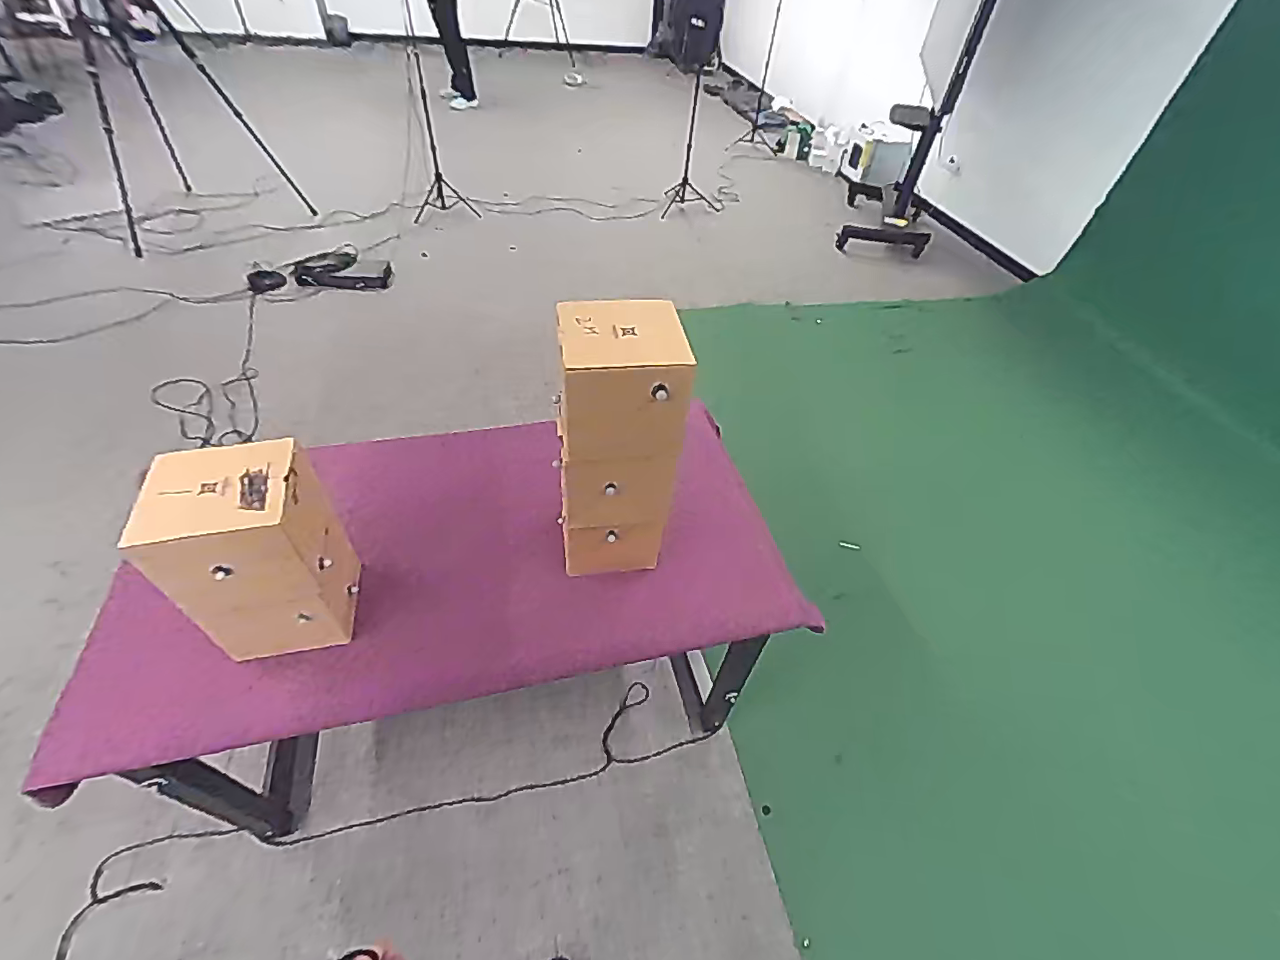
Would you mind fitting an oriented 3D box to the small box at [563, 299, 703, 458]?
[{"bbox_3d":[-0.021,-0.148,0.798,0.179,0.176,0.168,-4,48,-9],"label":"small box"}]

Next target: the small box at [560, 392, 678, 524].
[{"bbox_3d":[-0.041,-0.039,0.921,0.179,0.176,0.168,-4,49,-9],"label":"small box"}]

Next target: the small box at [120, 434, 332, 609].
[{"bbox_3d":[-0.557,0.059,0.763,0.179,0.176,0.168,-9,49,-15],"label":"small box"}]

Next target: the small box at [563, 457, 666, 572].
[{"bbox_3d":[-0.057,0.063,1.049,0.179,0.176,0.168,-4,49,-9],"label":"small box"}]
